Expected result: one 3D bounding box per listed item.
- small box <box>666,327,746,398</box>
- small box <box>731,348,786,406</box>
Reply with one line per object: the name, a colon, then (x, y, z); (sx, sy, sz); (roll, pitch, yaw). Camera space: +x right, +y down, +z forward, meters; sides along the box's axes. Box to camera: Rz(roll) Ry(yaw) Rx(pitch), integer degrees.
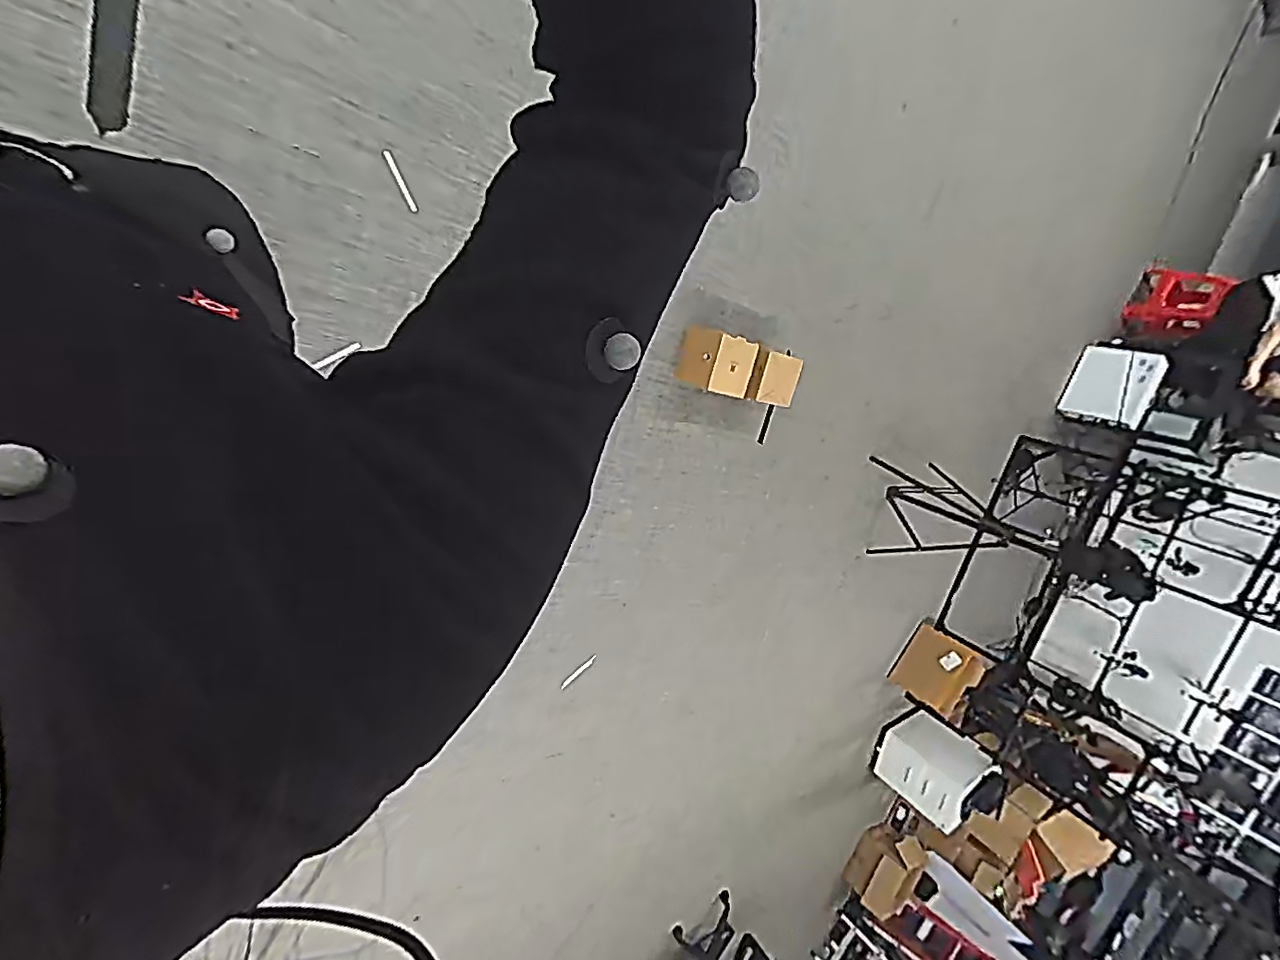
small box: (0.205, -0.378, 1.735); (0.168, 0.176, 0.179); (5, 106, -39)
small box: (0.382, -0.363, 1.871); (0.179, 0.176, 0.168); (4, 107, -39)
